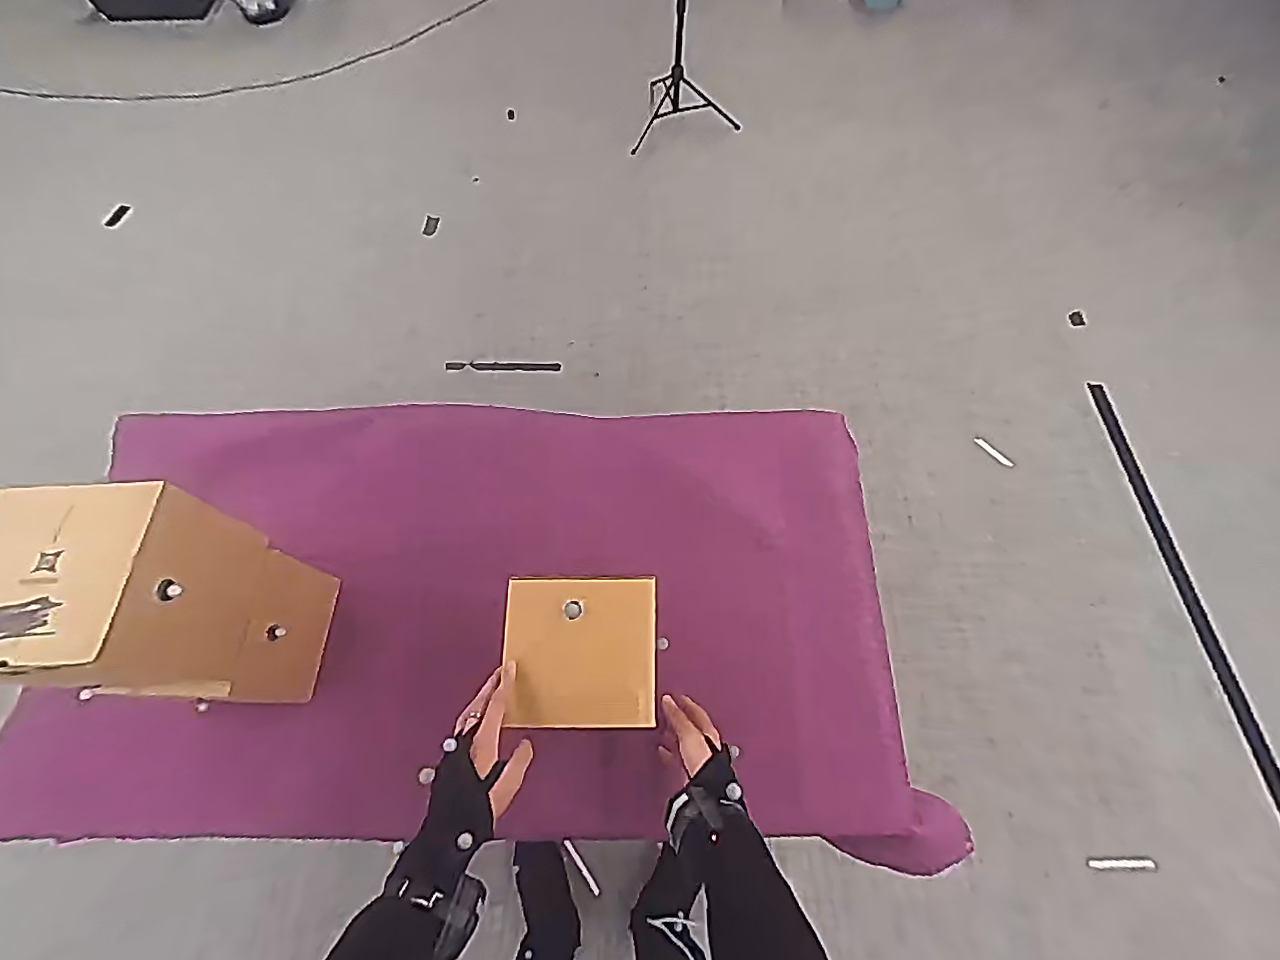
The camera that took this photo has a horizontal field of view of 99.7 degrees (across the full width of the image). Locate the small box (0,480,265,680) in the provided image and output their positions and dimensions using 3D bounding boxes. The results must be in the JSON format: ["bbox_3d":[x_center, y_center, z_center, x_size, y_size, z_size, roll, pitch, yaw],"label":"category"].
[{"bbox_3d":[-0.540,0.114,0.570,0.168,0.176,0.179,-2,65,-1],"label":"small box"}]

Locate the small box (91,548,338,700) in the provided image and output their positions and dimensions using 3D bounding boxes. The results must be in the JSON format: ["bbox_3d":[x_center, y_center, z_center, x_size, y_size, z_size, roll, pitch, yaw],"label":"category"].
[{"bbox_3d":[-0.535,0.193,0.714,0.168,0.176,0.179,2,65,1],"label":"small box"}]

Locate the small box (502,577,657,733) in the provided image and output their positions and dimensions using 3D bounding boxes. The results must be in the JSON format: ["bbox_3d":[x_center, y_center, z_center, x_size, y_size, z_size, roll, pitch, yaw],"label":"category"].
[{"bbox_3d":[-0.067,0.220,0.689,0.179,0.168,0.176,-1,72,1],"label":"small box"}]
